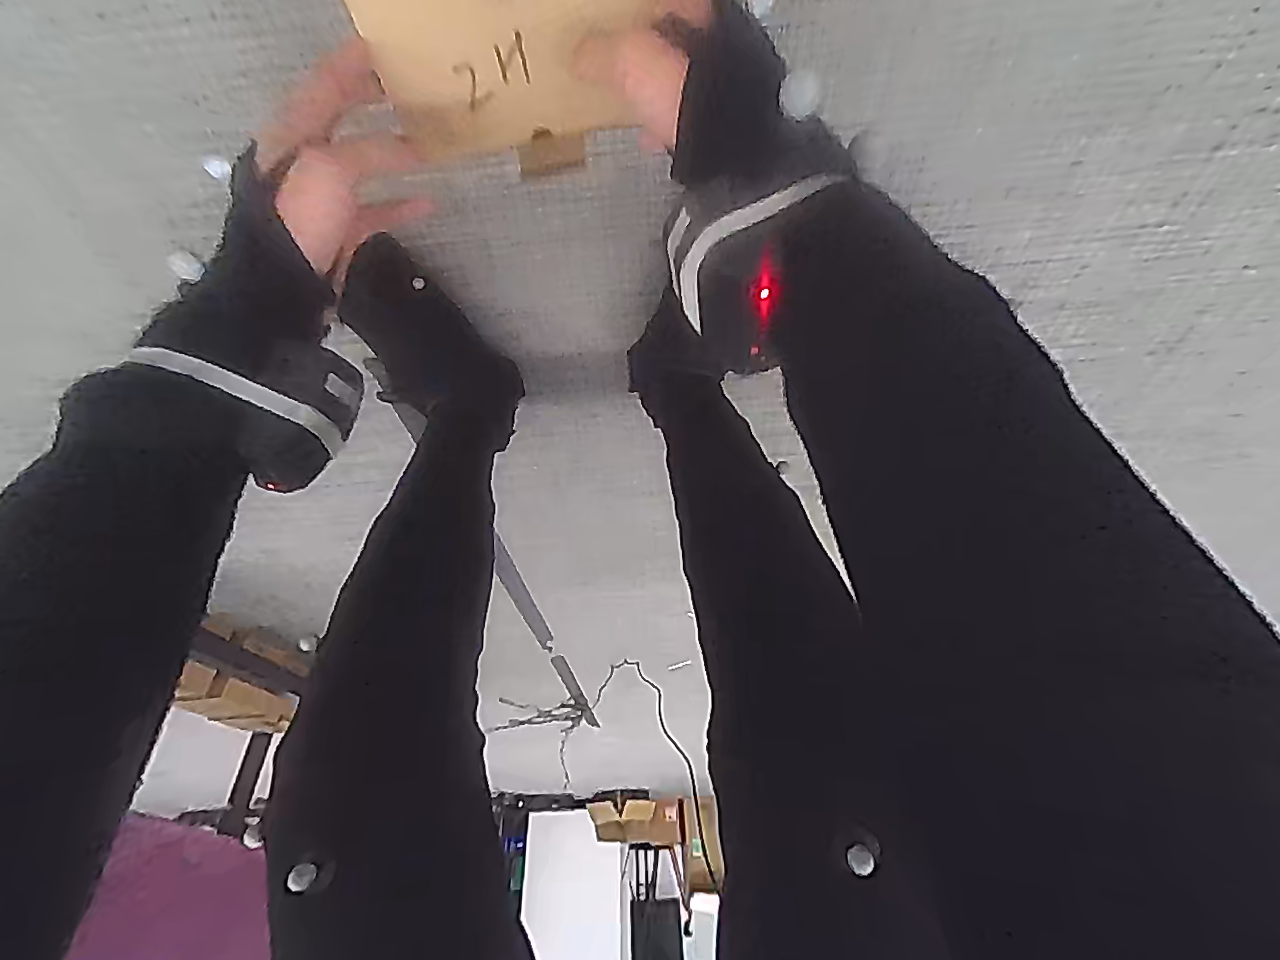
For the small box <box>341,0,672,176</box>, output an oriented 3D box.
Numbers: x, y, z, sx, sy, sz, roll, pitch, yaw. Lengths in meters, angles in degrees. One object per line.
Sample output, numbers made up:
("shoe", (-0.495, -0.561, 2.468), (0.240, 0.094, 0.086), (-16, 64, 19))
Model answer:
("small box", (-0.077, -0.320, 0.326), (0.168, 0.176, 0.179), (-8, 138, 7))
